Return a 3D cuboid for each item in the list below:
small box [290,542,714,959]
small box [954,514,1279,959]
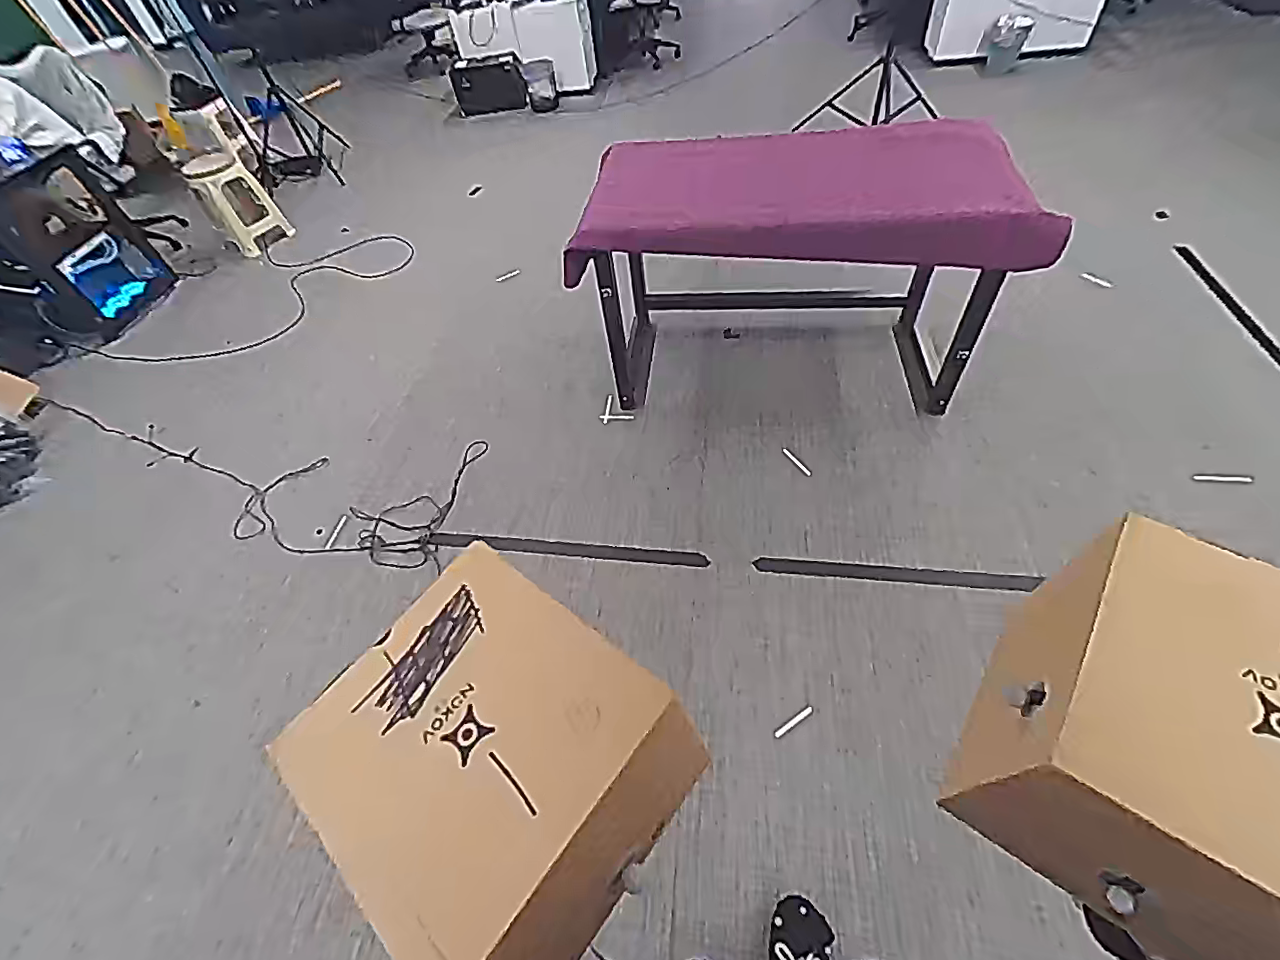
[{"bbox_3d":[-0.071,0.179,0.356,0.179,0.176,0.168,29,66,31],"label":"small box"},{"bbox_3d":[0.321,0.160,0.326,0.168,0.176,0.179,29,62,24],"label":"small box"}]
